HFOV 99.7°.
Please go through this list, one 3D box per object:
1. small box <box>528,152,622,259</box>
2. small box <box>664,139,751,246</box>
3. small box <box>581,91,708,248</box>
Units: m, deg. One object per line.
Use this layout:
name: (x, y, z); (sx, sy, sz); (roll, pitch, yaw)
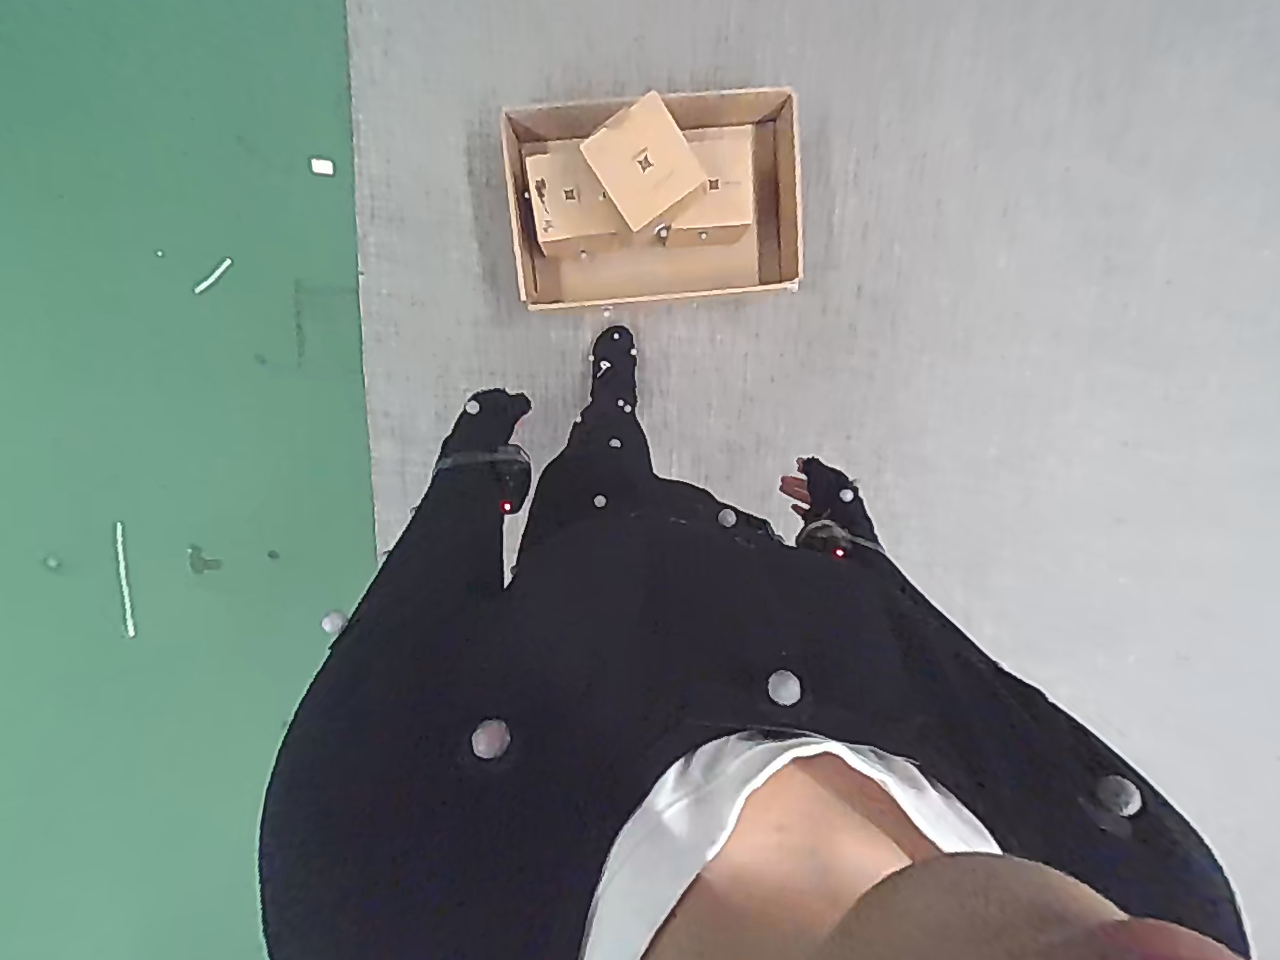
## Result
small box: (-0.139, -0.598, 1.189); (0.179, 0.176, 0.168); (-9, 100, -3)
small box: (0.141, -0.625, 1.194); (0.179, 0.176, 0.168); (-4, 101, -1)
small box: (0.004, -0.577, 1.035); (0.168, 0.176, 0.179); (-35, 102, 5)
